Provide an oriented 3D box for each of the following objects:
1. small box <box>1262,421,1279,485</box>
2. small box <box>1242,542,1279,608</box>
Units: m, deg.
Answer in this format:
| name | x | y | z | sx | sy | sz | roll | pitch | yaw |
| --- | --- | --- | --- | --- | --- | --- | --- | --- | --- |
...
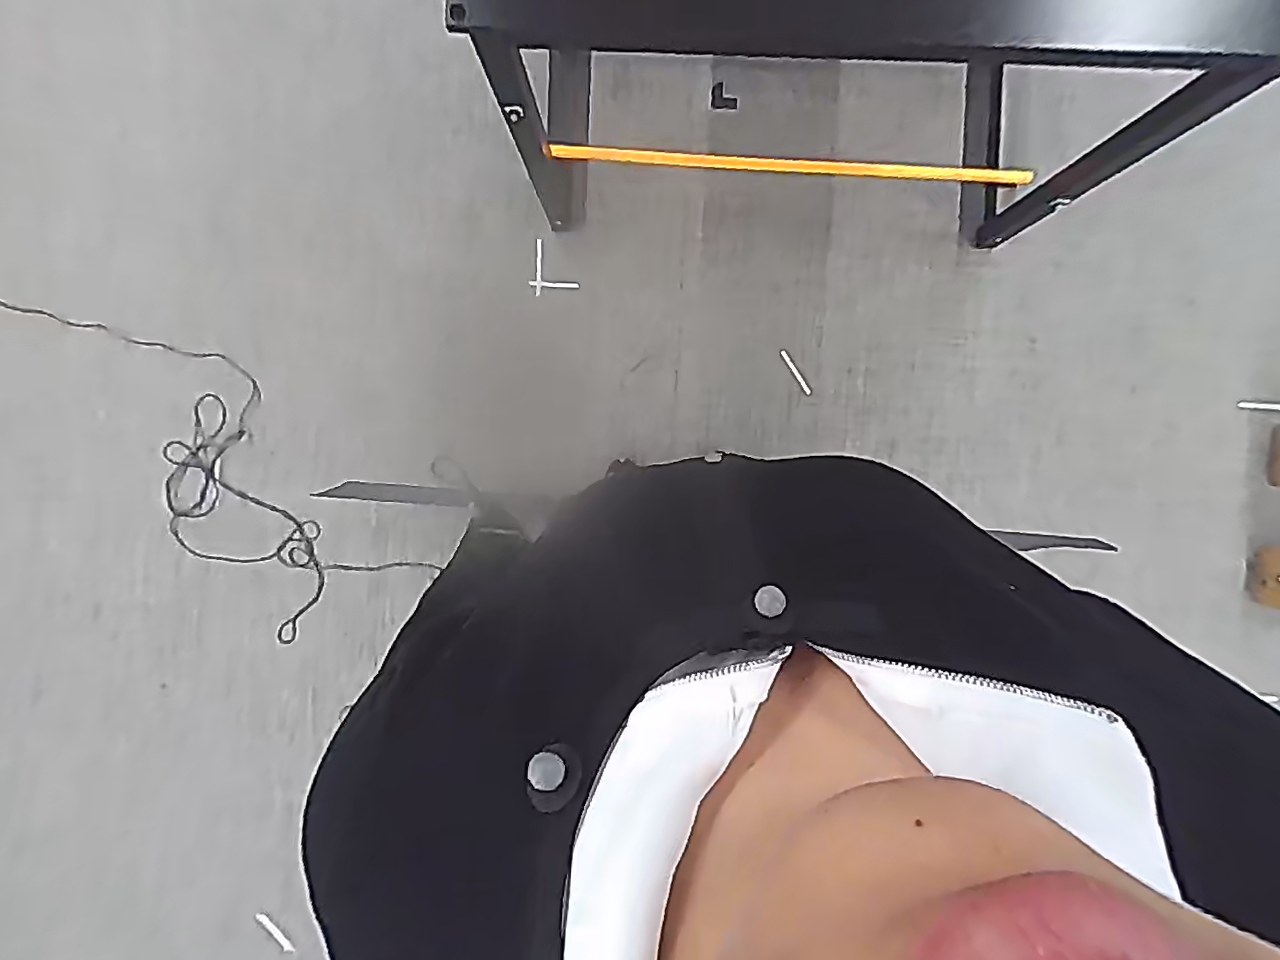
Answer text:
| name | x | y | z | sx | sy | sz | roll | pitch | yaw |
| --- | --- | --- | --- | --- | --- | --- | --- | --- | --- |
| small box | 1.781 | -0.064 | 1.393 | 0.168 | 0.176 | 0.179 | 2 | 93 | 0 |
| small box | 1.757 | 0.261 | 1.415 | 0.179 | 0.176 | 0.168 | 5 | 94 | 1 |
